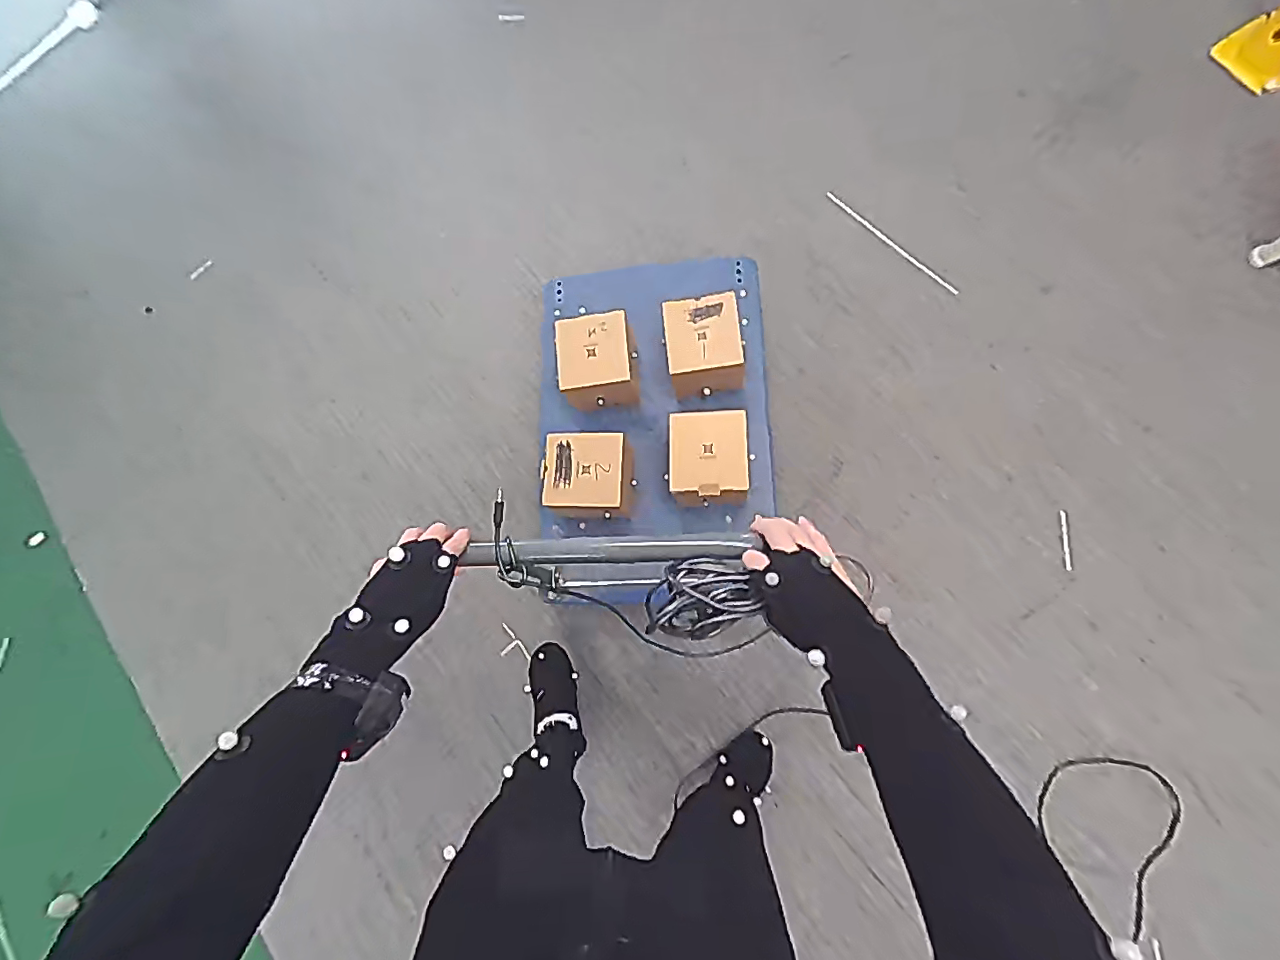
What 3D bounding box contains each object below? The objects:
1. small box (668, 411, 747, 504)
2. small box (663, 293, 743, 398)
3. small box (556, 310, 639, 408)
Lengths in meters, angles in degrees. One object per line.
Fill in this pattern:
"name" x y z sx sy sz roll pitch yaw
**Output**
"small box" 0.152 -0.046 1.217 0.168 0.176 0.179 -2 79 9
"small box" 0.149 -0.310 1.272 0.168 0.176 0.179 -6 78 9
"small box" -0.098 -0.282 1.308 0.168 0.176 0.179 -6 77 8
